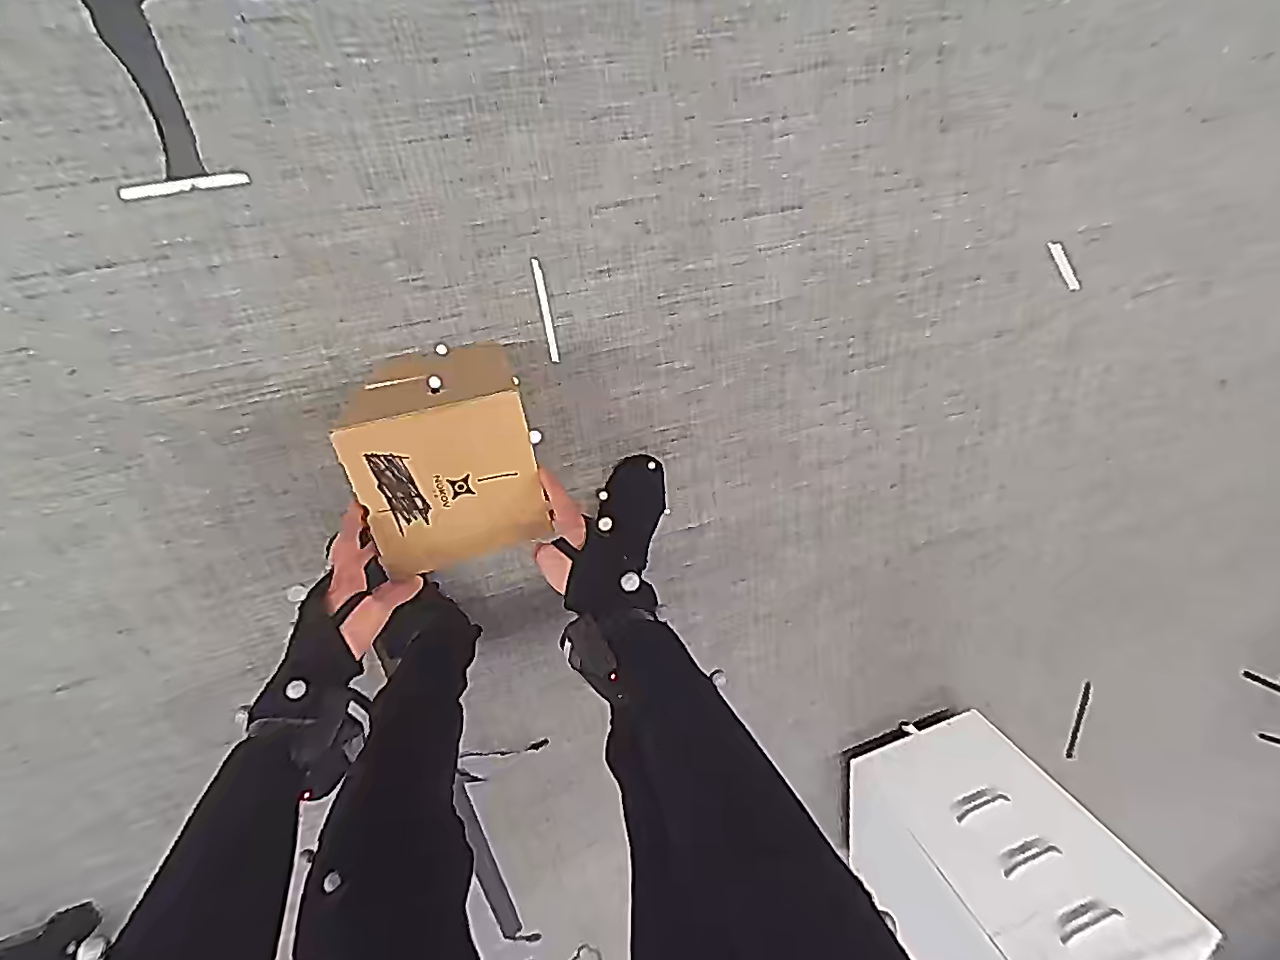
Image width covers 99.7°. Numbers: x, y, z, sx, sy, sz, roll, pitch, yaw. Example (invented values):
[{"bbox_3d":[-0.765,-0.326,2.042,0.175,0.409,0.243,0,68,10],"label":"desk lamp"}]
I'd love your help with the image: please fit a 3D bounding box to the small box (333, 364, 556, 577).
[{"bbox_3d":[-0.206,-0.023,0.603,0.179,0.176,0.168,-15,115,-13],"label":"small box"}]
